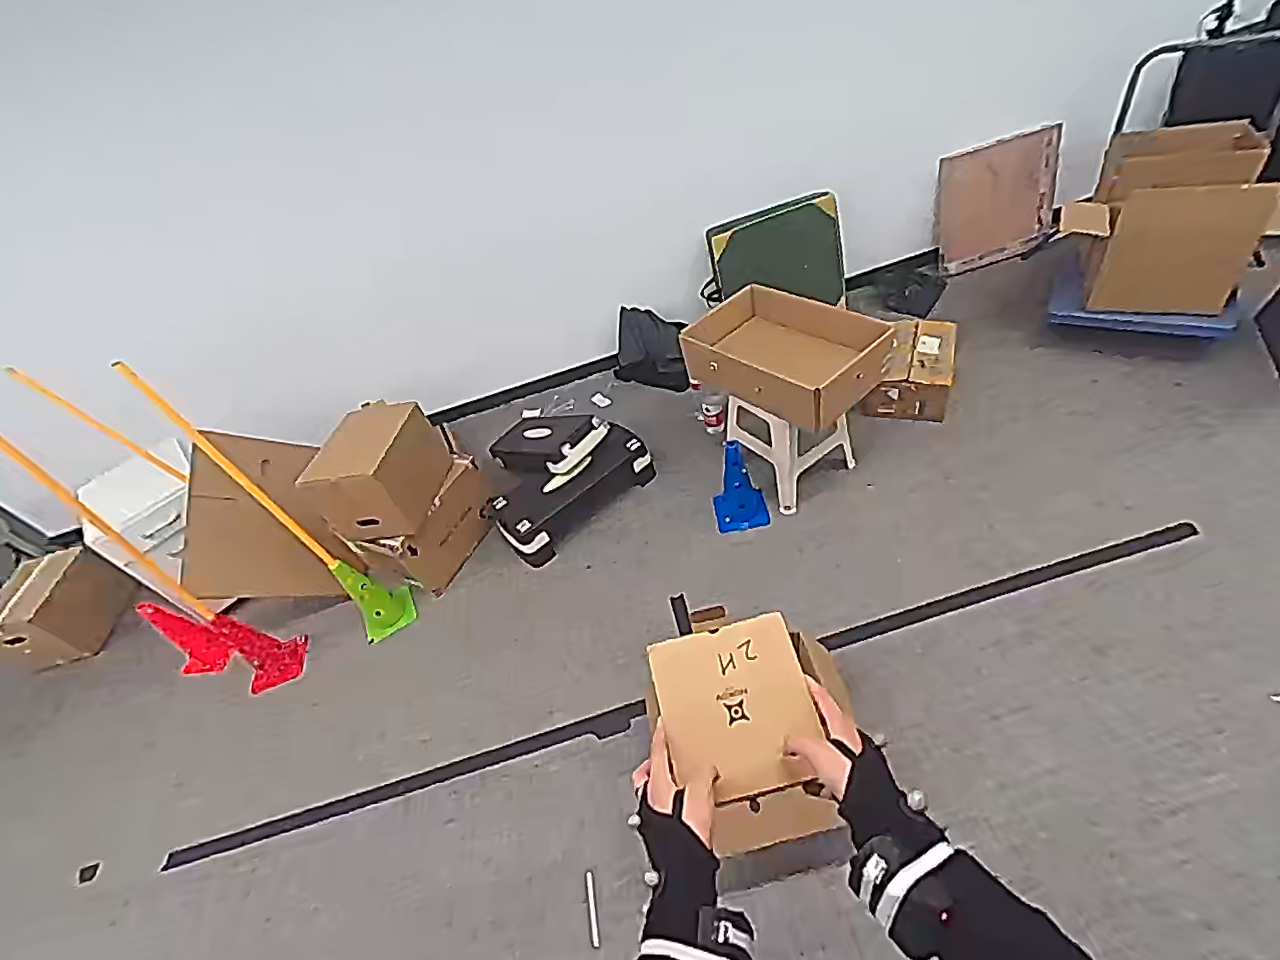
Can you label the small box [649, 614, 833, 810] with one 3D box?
[{"bbox_3d":[0.116,0.288,0.664,0.168,0.176,0.179,-14,57,0],"label":"small box"}]
